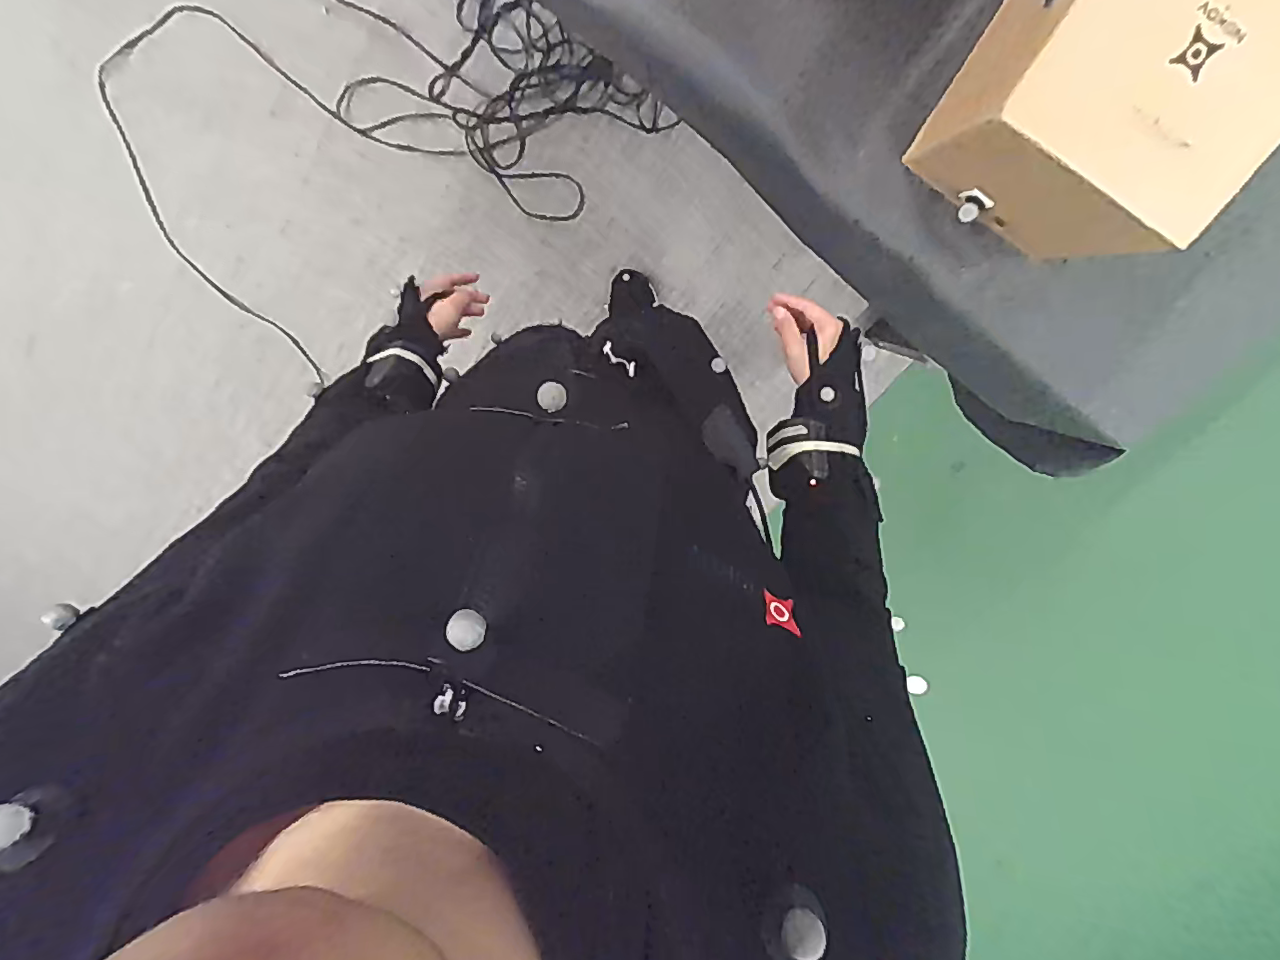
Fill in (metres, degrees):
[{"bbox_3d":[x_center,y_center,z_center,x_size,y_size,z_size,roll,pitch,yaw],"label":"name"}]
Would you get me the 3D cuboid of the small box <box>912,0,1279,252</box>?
[{"bbox_3d":[0.348,-0.295,0.408,0.168,0.176,0.179,28,110,-7],"label":"small box"}]
